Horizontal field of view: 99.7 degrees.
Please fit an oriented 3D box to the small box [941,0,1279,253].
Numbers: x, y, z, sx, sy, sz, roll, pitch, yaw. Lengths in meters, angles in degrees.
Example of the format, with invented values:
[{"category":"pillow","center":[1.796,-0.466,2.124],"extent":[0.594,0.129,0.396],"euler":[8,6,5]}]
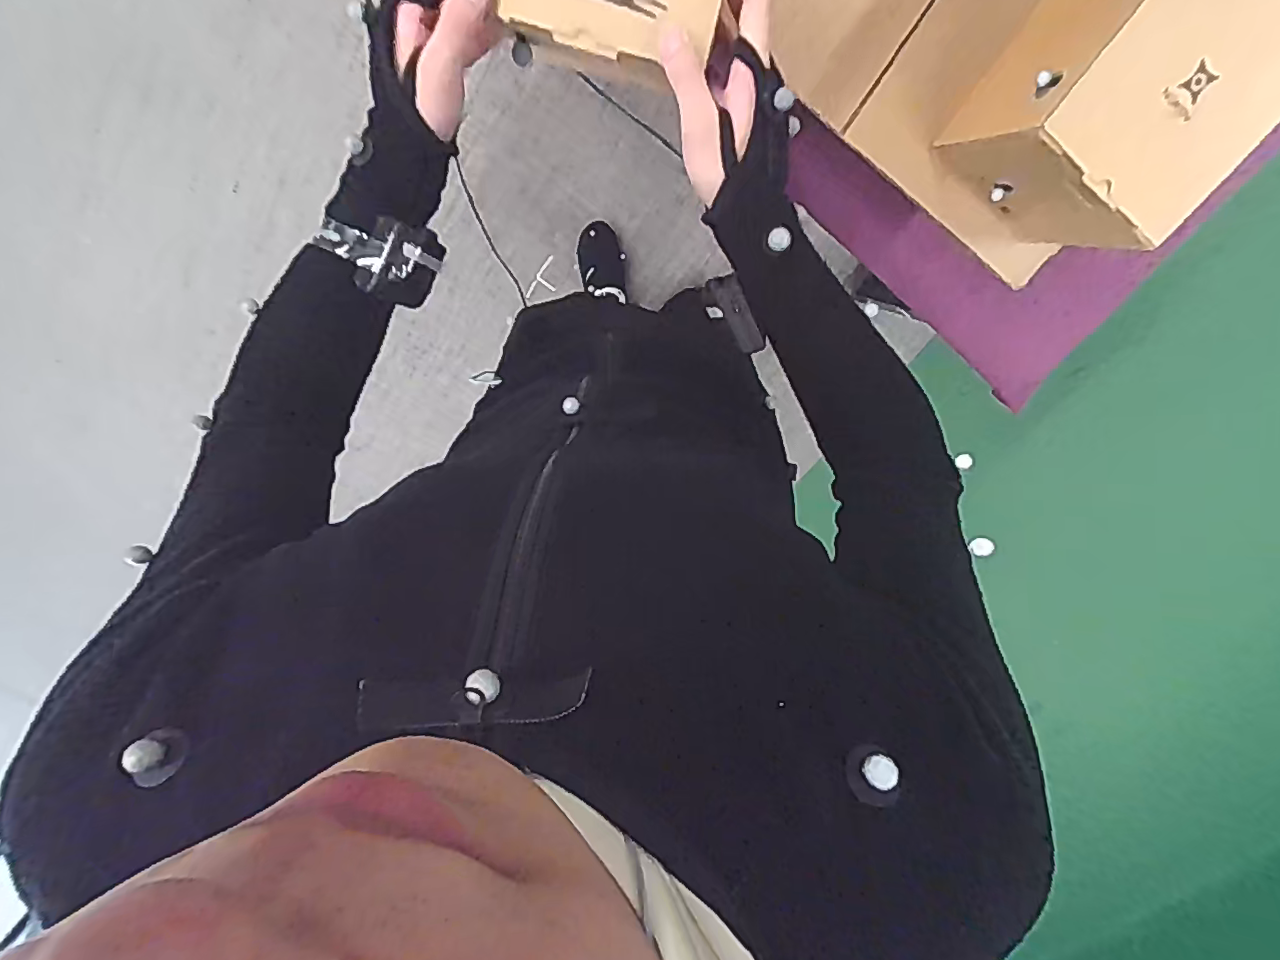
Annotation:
[{"category":"small box","center":[0.425,-0.337,0.491],"extent":[0.168,0.176,0.179],"euler":[29,112,-17]}]
